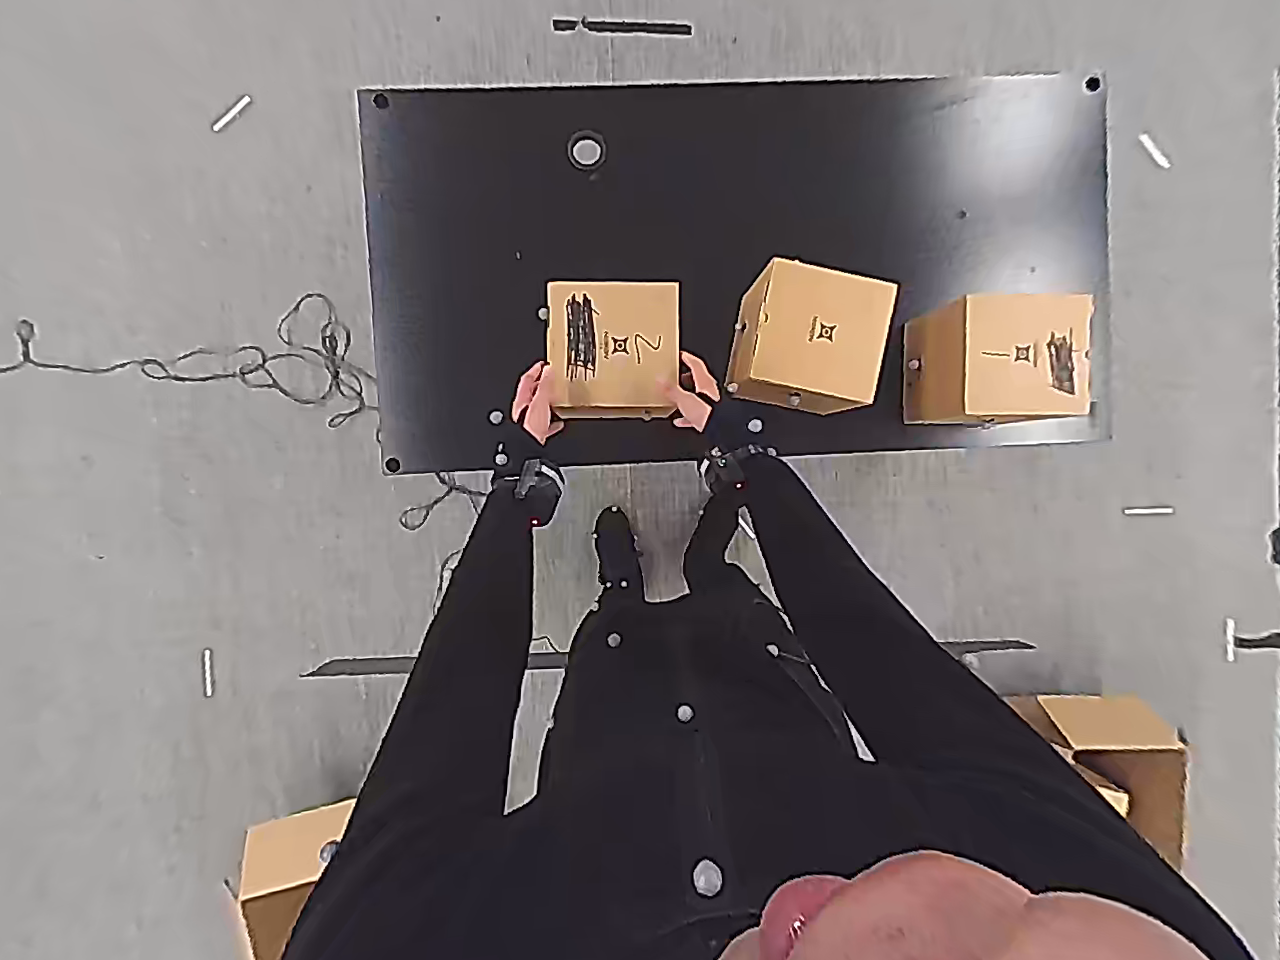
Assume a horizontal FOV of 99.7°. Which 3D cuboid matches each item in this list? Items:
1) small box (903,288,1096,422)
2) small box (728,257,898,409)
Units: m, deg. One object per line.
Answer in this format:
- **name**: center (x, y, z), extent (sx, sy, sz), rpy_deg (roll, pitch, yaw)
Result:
- **small box**: center (0.520, -0.176, 0.802), extent (0.179, 0.176, 0.168), rpy_deg (-1, 91, -1)
- **small box**: center (0.241, -0.202, 0.796), extent (0.179, 0.176, 0.168), rpy_deg (11, 91, -1)
